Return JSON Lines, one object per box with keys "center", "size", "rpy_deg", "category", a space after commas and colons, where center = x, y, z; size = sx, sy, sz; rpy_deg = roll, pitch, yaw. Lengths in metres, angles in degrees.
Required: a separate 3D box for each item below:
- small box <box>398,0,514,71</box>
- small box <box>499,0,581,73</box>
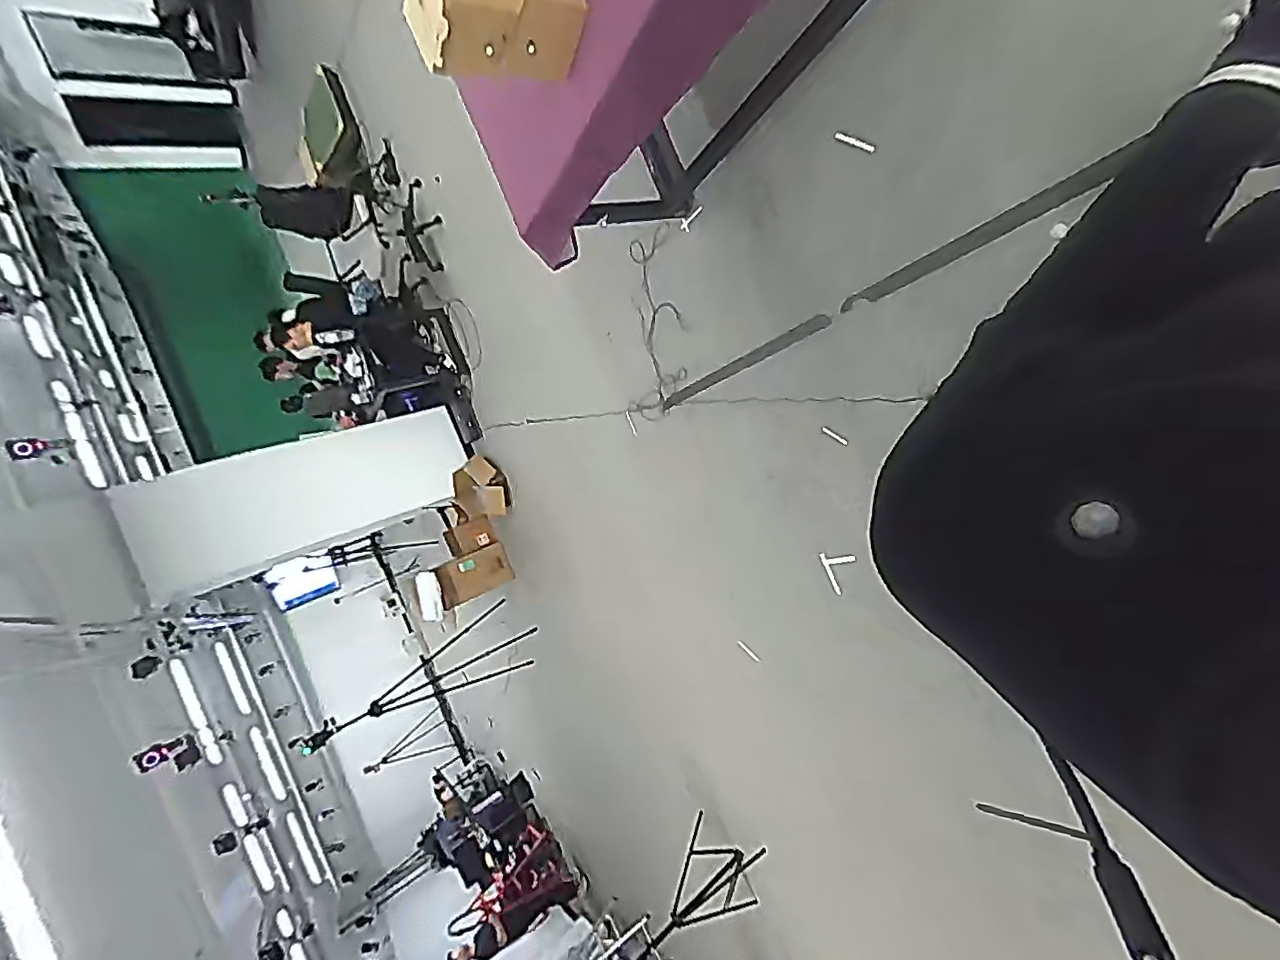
{"center": [-0.398, -1.024, 1.166], "size": [0.168, 0.176, 0.179], "rpy_deg": [-31, 83, 58], "category": "small box"}
{"center": [-0.257, -1.076, 1.238], "size": [0.168, 0.176, 0.179], "rpy_deg": [62, 146, 8], "category": "small box"}
